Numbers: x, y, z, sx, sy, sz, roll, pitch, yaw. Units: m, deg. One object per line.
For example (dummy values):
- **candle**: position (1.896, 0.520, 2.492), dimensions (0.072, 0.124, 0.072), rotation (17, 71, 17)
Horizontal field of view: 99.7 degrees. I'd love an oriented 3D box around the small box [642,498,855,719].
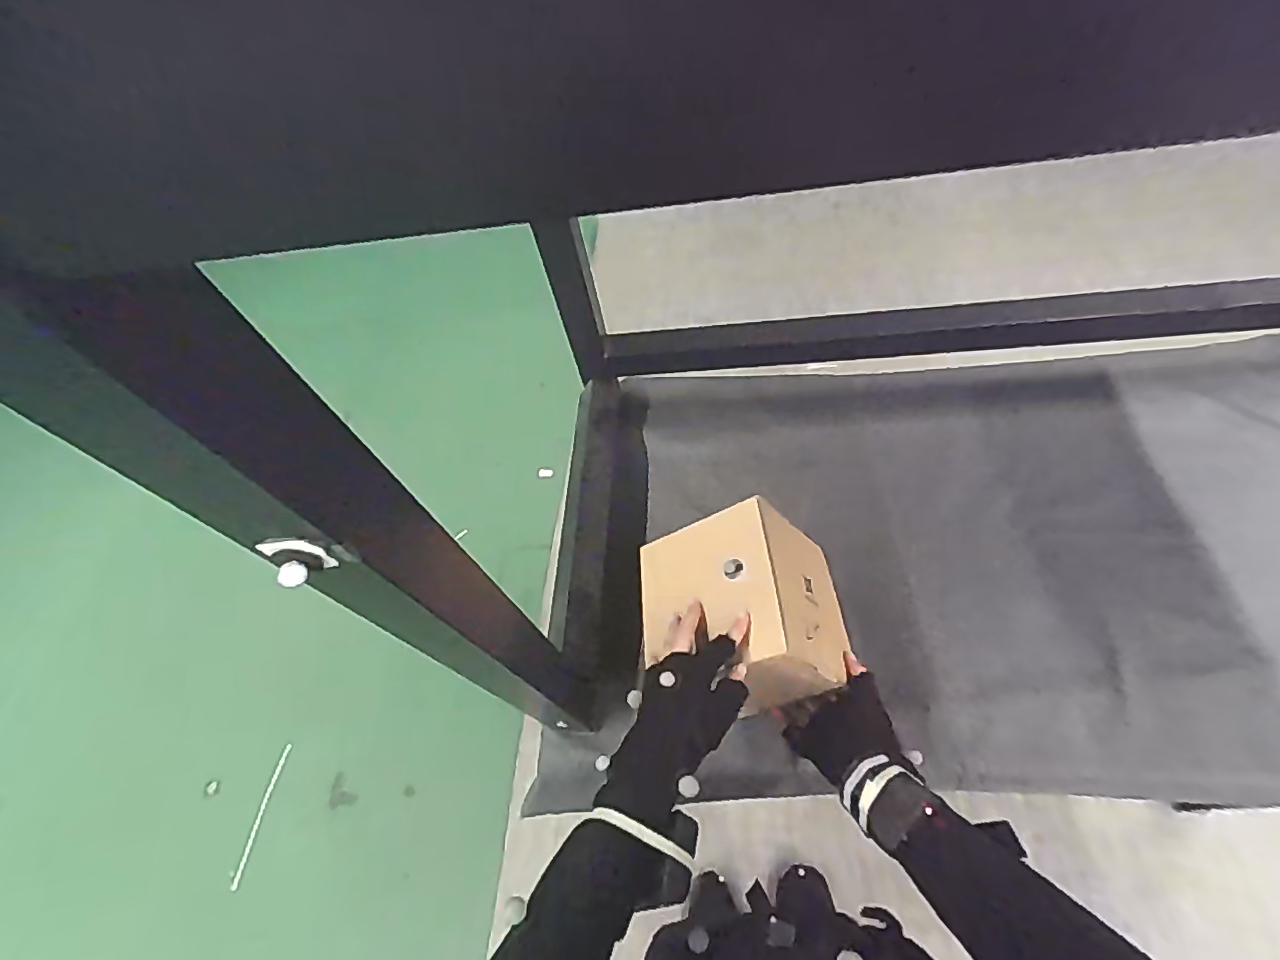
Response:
- **small box**: position (0.113, 0.154, 0.617), dimensions (0.176, 0.168, 0.179), rotation (-27, 46, 30)
